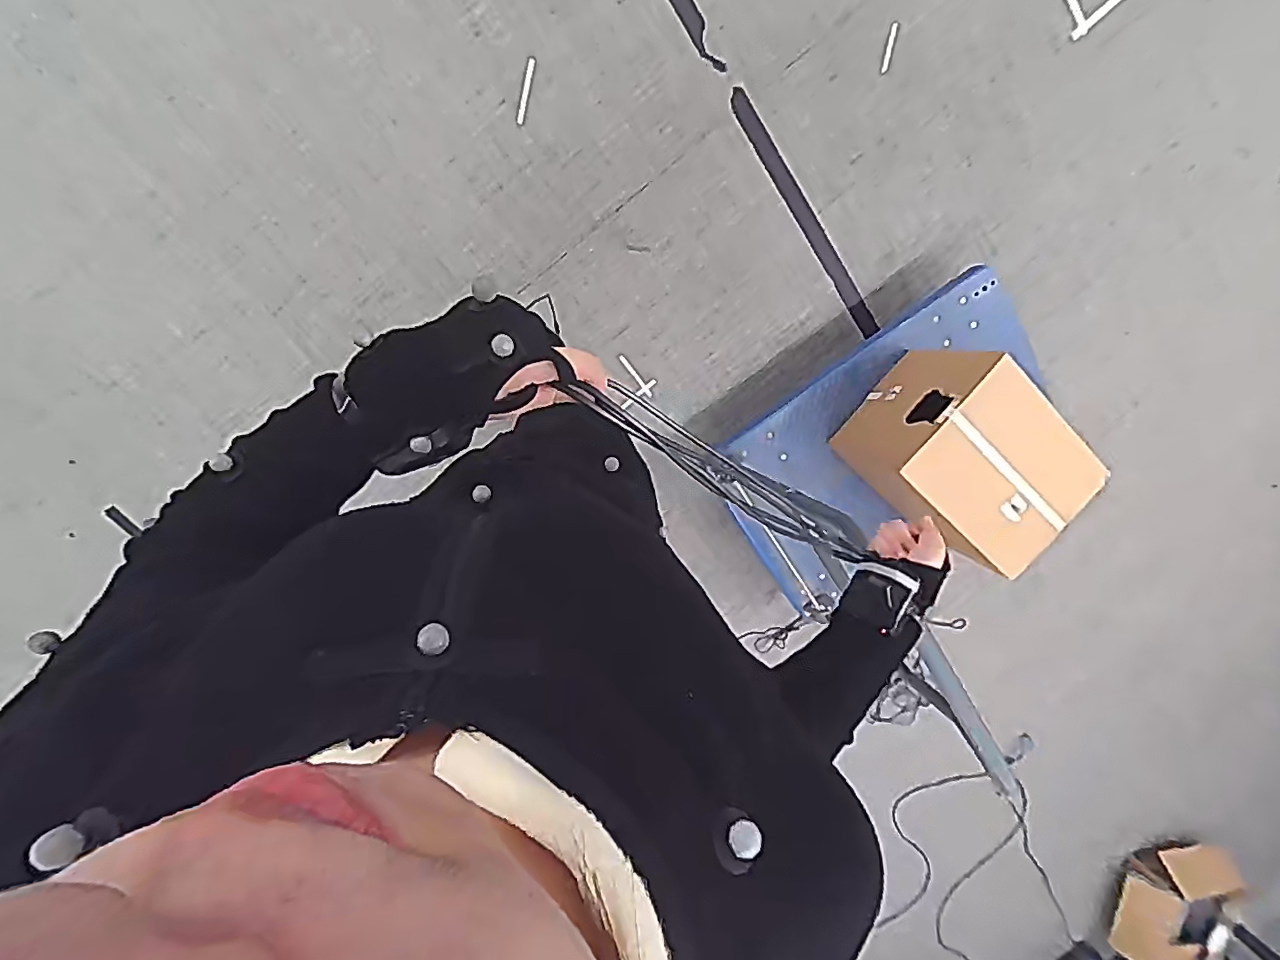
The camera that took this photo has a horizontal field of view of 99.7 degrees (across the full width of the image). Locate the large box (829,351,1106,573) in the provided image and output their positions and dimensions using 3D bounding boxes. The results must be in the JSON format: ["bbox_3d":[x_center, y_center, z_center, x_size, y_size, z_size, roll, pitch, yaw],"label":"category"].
[{"bbox_3d":[0.740,-0.060,1.271,0.408,0.320,0.320,38,97,-16],"label":"large box"}]
